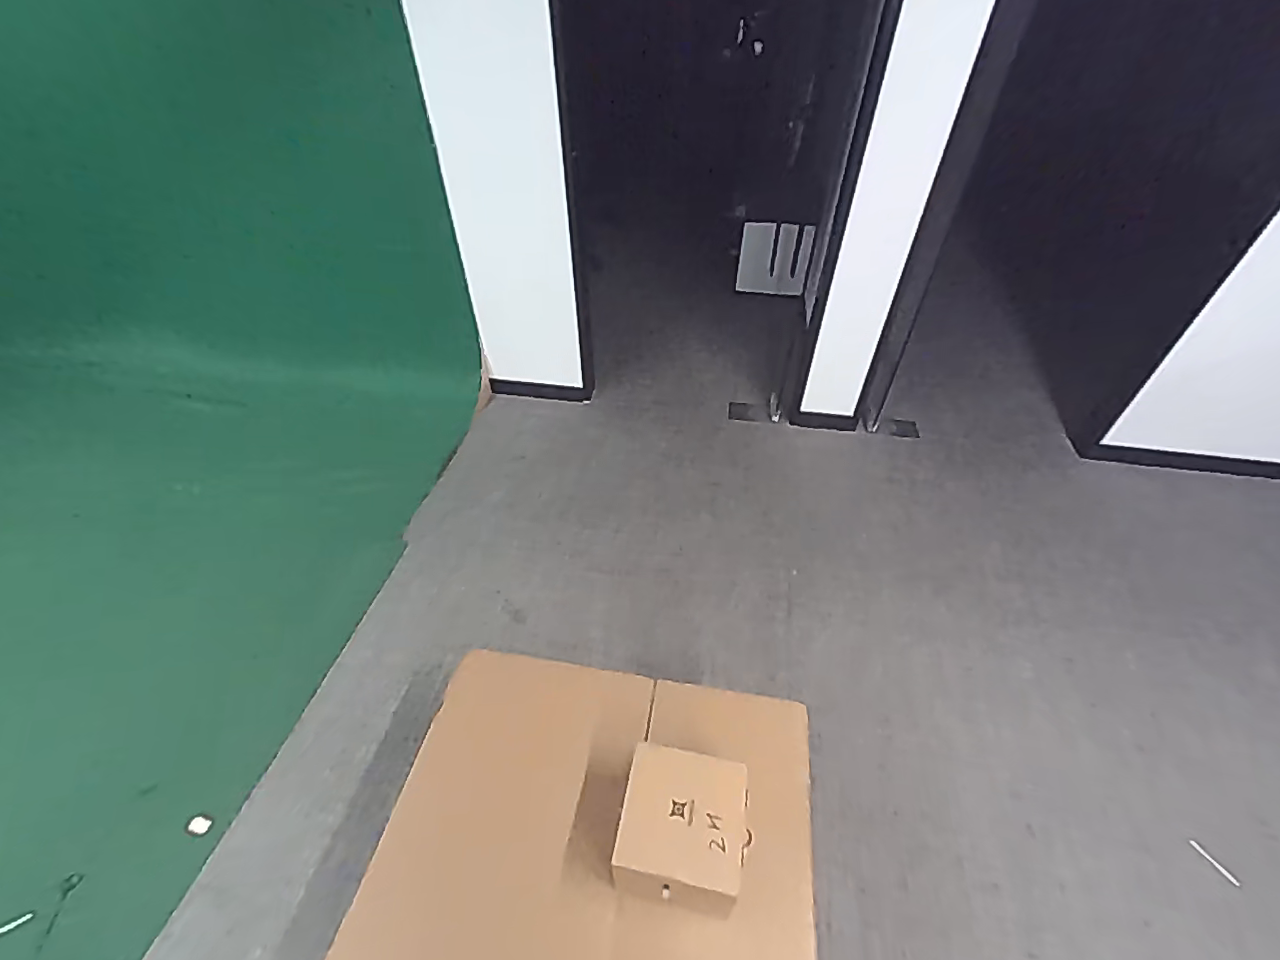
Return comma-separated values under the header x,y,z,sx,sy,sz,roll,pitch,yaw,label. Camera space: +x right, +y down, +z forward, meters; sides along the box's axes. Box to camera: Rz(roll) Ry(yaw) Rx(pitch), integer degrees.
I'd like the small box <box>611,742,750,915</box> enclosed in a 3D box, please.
x,y,z,sx,sy,sz,roll,pitch,yaw,label
0.065,0.528,0.820,0.179,0.176,0.168,8,44,10,small box
